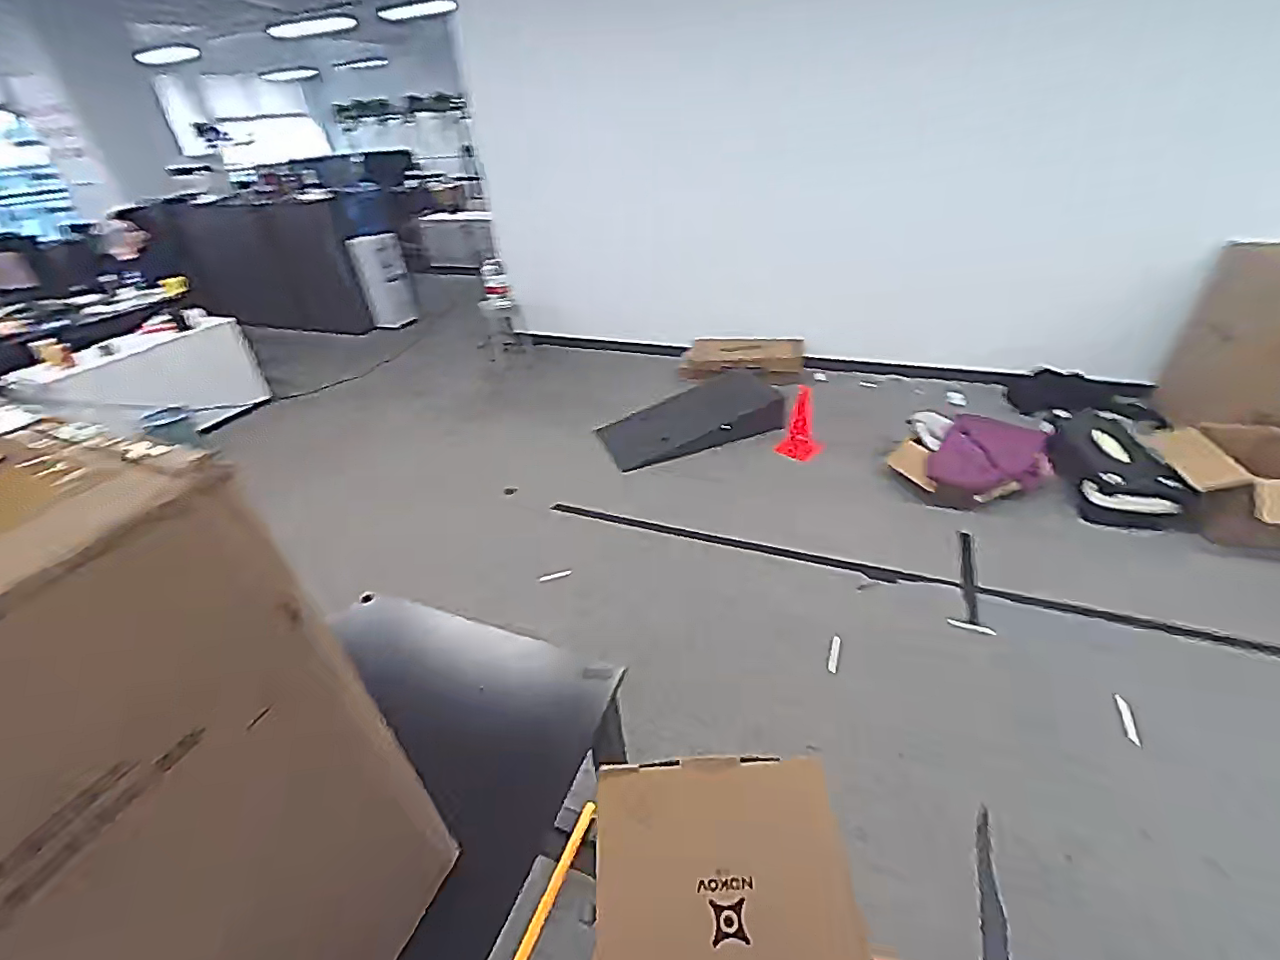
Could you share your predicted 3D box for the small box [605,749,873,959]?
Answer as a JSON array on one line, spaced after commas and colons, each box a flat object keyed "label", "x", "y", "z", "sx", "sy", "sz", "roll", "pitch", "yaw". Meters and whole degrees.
[{"label": "small box", "x": 0.059, "y": 0.319, "z": 0.406, "sx": 0.168, "sy": 0.176, "sz": 0.179, "roll": -2, "pitch": 52, "yaw": 0}]
